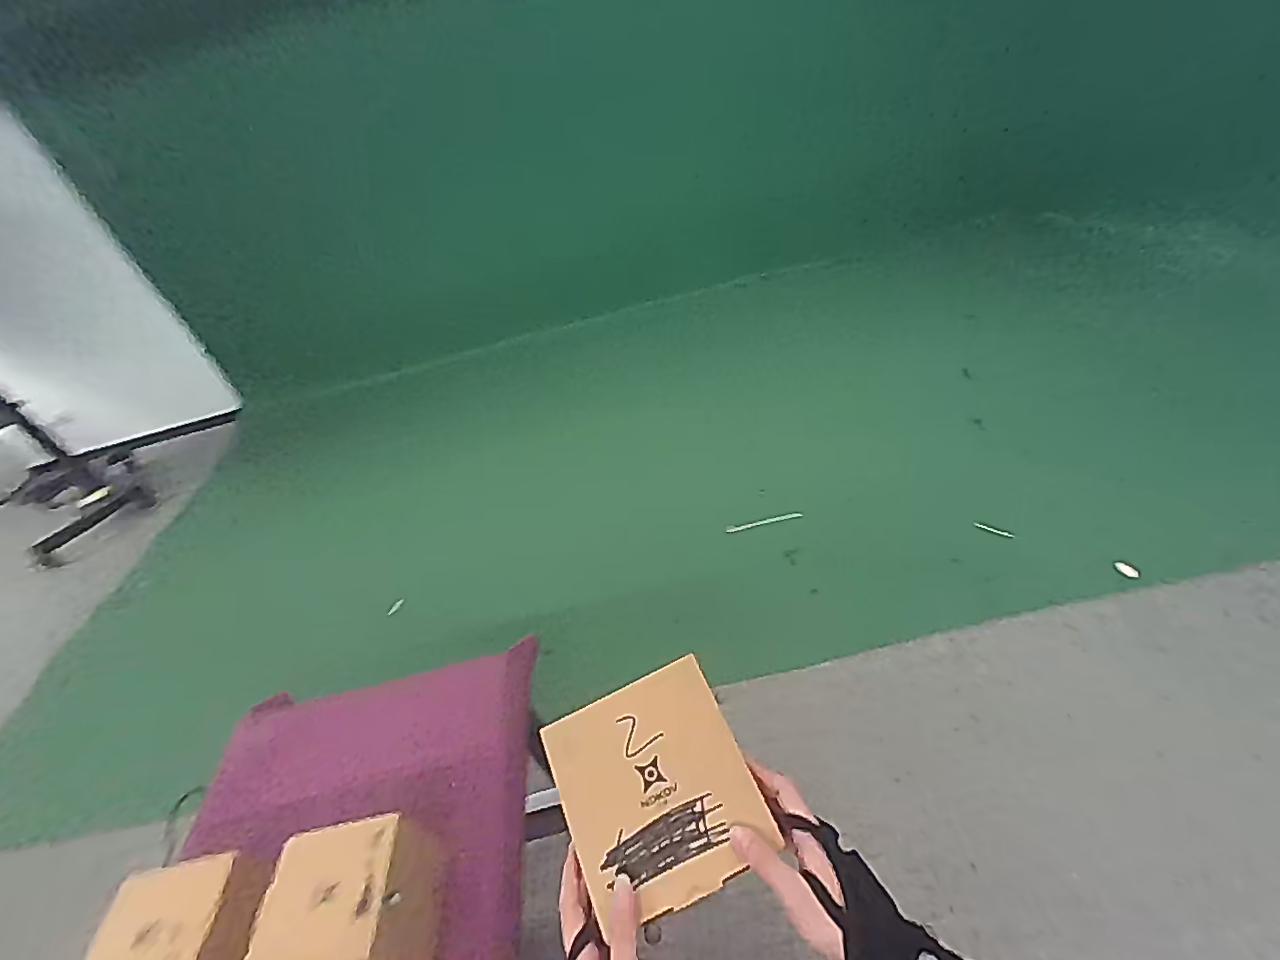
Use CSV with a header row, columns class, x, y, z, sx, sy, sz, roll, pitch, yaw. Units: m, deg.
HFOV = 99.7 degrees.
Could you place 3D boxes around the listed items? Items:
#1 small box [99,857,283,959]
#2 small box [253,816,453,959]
class,x,y,z,sx,sy,sz,roll,pitch,yaw
small box,-0.638,0.686,0.789,0.179,0.176,0.168,-15,40,3
small box,-0.399,0.619,0.779,0.179,0.176,0.168,-16,40,4
